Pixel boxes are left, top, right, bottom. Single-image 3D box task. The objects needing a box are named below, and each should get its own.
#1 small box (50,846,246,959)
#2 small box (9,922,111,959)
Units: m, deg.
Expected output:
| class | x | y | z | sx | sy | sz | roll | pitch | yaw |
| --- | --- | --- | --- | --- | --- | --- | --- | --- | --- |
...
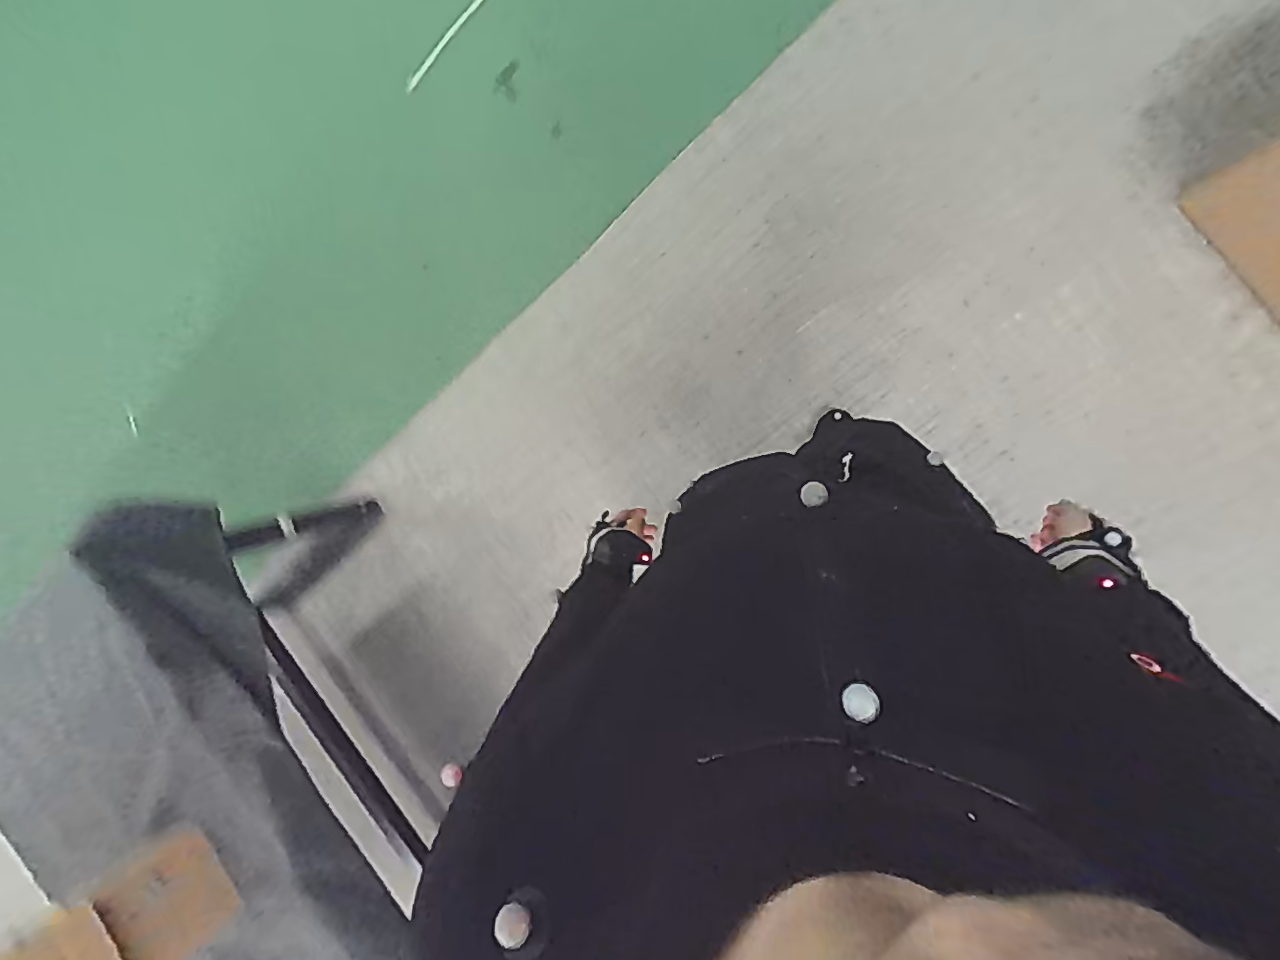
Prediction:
| class | x | y | z | sx | sy | sz | roll | pitch | yaw |
| --- | --- | --- | --- | --- | --- | --- | --- | --- | --- |
| small box | -0.798 | 0.735 | 0.873 | 0.168 | 0.176 | 0.179 | -32 | 90 | 18 |
| small box | -0.824 | 0.743 | 0.711 | 0.168 | 0.176 | 0.179 | -30 | 88 | 18 |
